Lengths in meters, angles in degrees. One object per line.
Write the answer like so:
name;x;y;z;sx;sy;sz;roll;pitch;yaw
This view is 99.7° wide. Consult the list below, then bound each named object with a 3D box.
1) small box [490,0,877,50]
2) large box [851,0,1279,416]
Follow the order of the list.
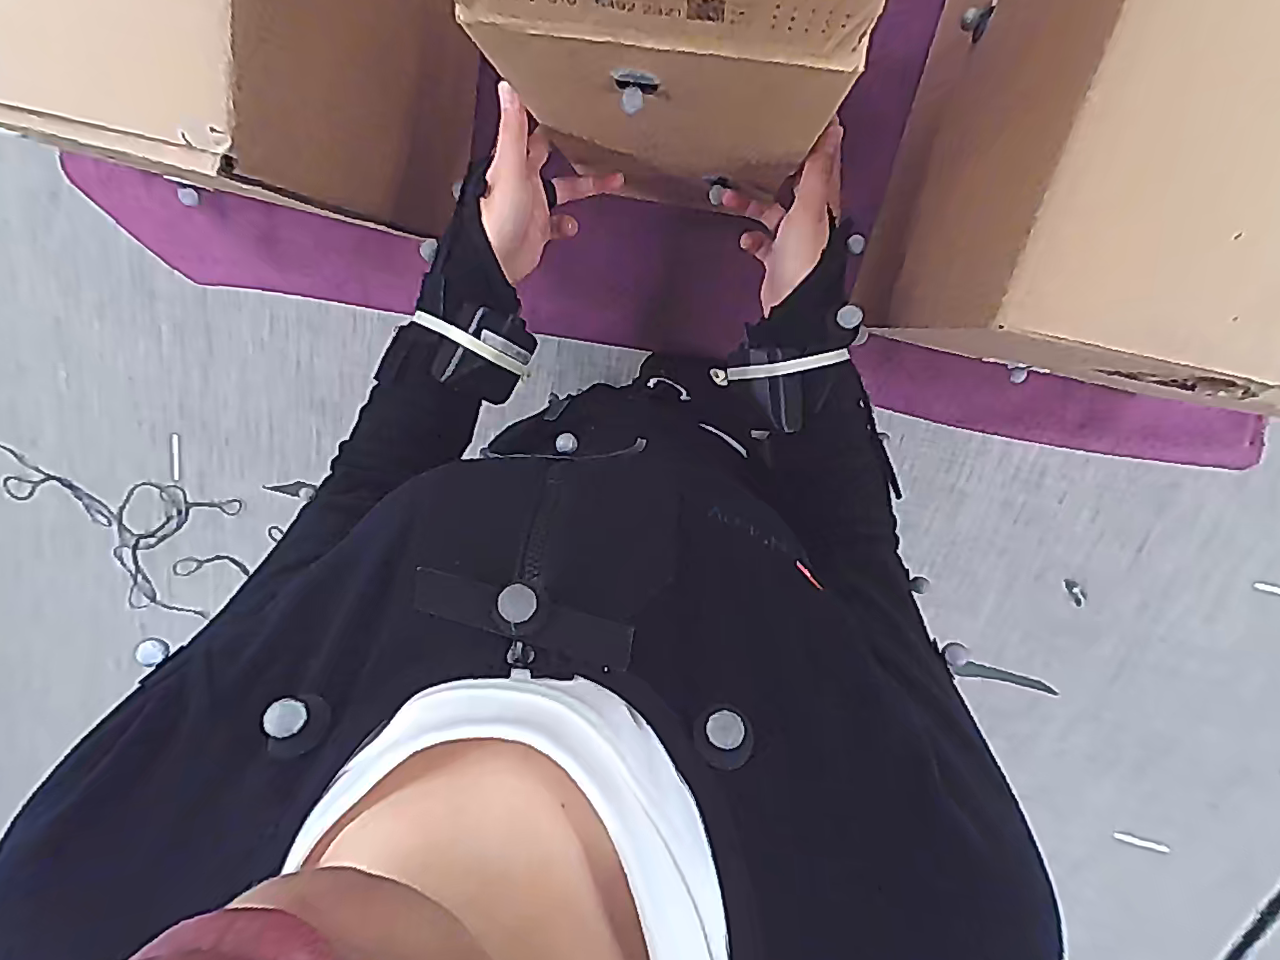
small box;0.011;-0.242;0.116;0.168;0.176;0.179;9;107;3
large box;0.375;-0.261;0.341;0.320;0.320;0.408;13;106;2
